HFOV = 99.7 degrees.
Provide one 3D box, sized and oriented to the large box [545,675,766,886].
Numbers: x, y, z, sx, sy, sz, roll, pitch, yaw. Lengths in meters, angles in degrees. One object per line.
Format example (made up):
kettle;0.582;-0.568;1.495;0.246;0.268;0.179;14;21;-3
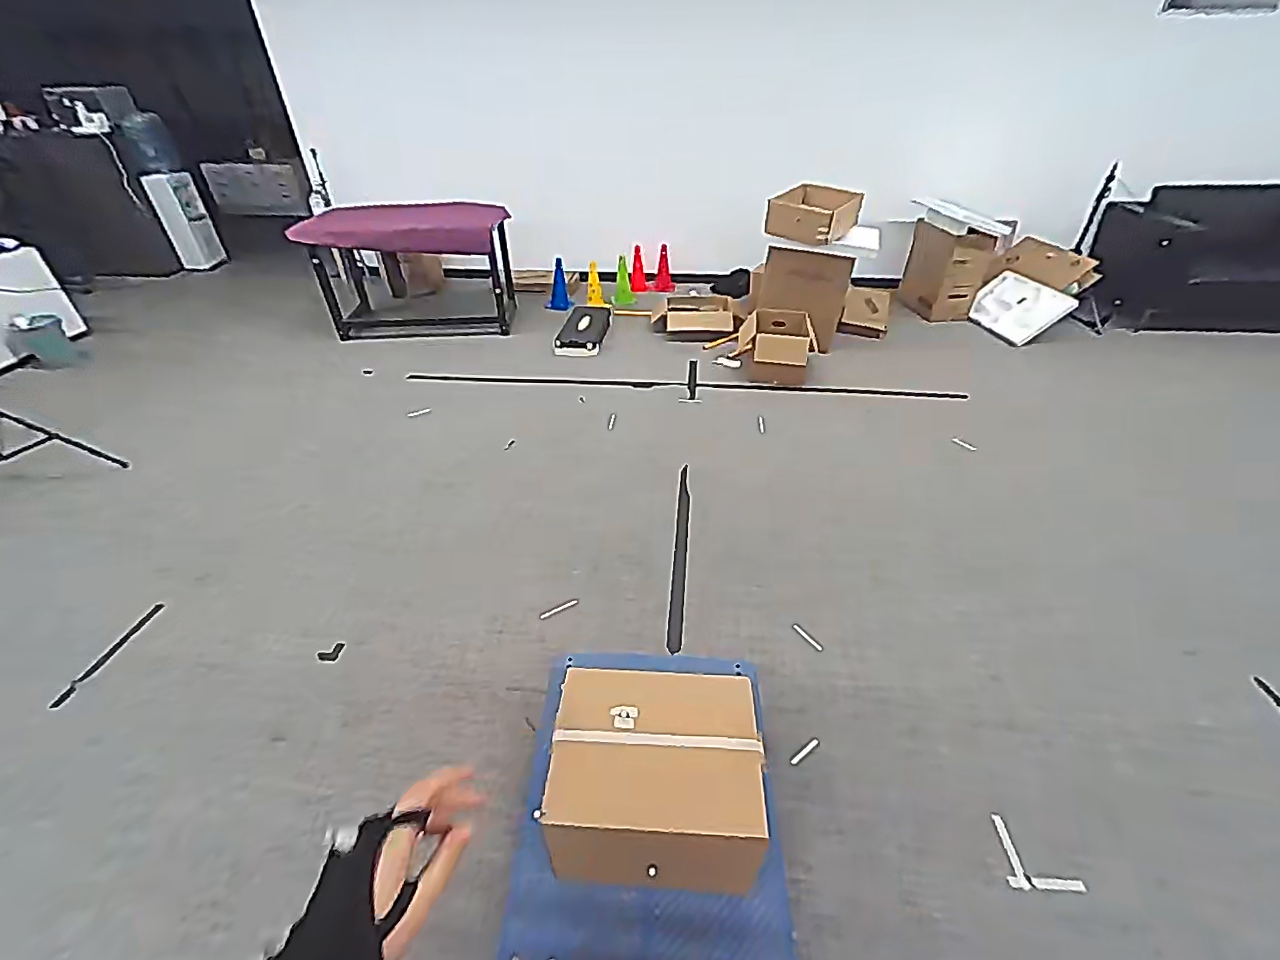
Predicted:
large box;0.036;0.647;1.172;0.408;0.320;0.320;1;37;3
